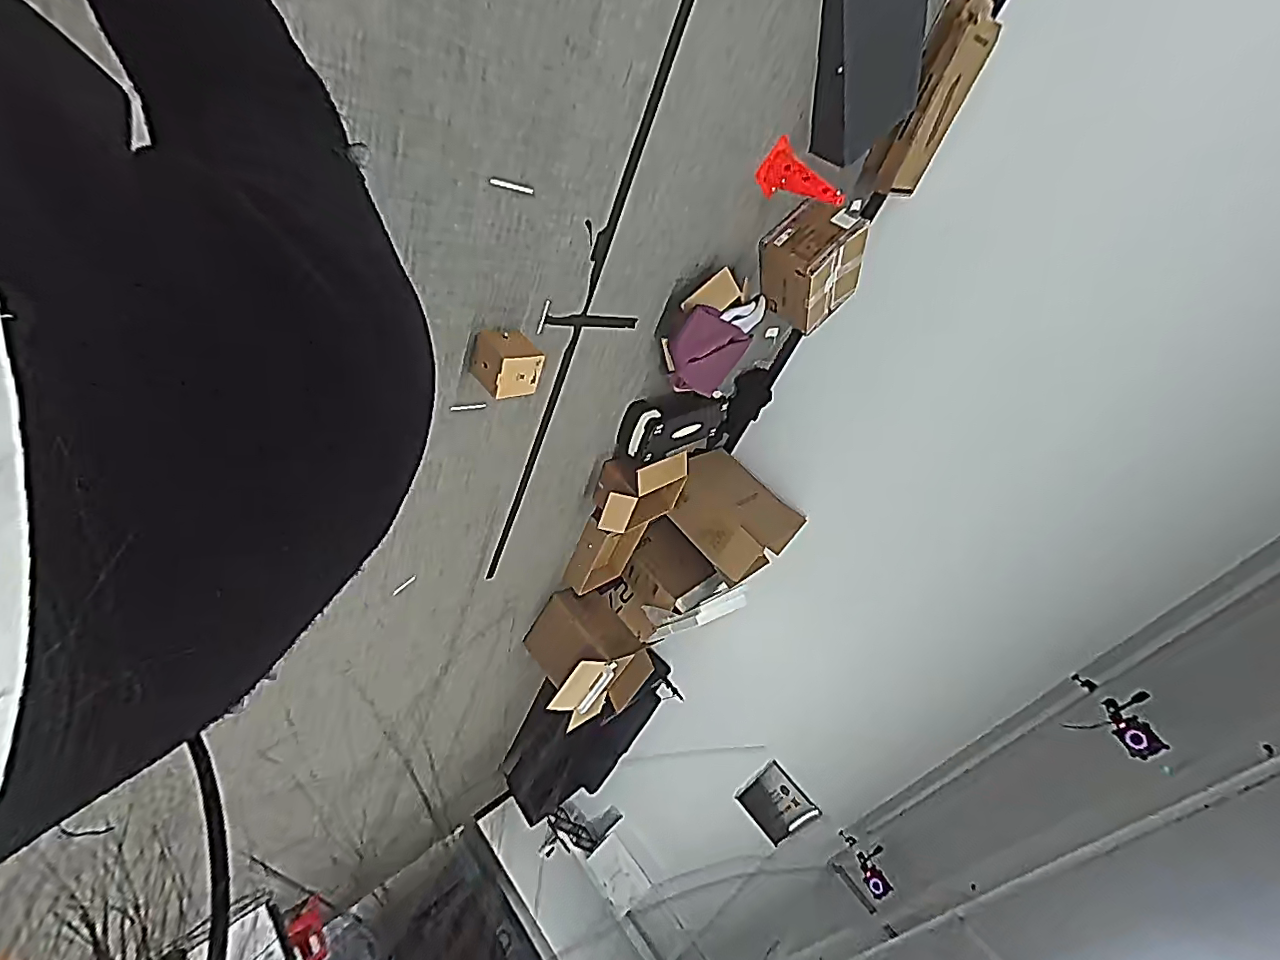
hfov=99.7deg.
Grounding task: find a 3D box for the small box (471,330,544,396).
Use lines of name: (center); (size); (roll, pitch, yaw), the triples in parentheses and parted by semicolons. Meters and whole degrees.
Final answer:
small box: (-0.476, -0.419, 1.921); (0.179, 0.176, 0.168); (-18, 144, -45)
